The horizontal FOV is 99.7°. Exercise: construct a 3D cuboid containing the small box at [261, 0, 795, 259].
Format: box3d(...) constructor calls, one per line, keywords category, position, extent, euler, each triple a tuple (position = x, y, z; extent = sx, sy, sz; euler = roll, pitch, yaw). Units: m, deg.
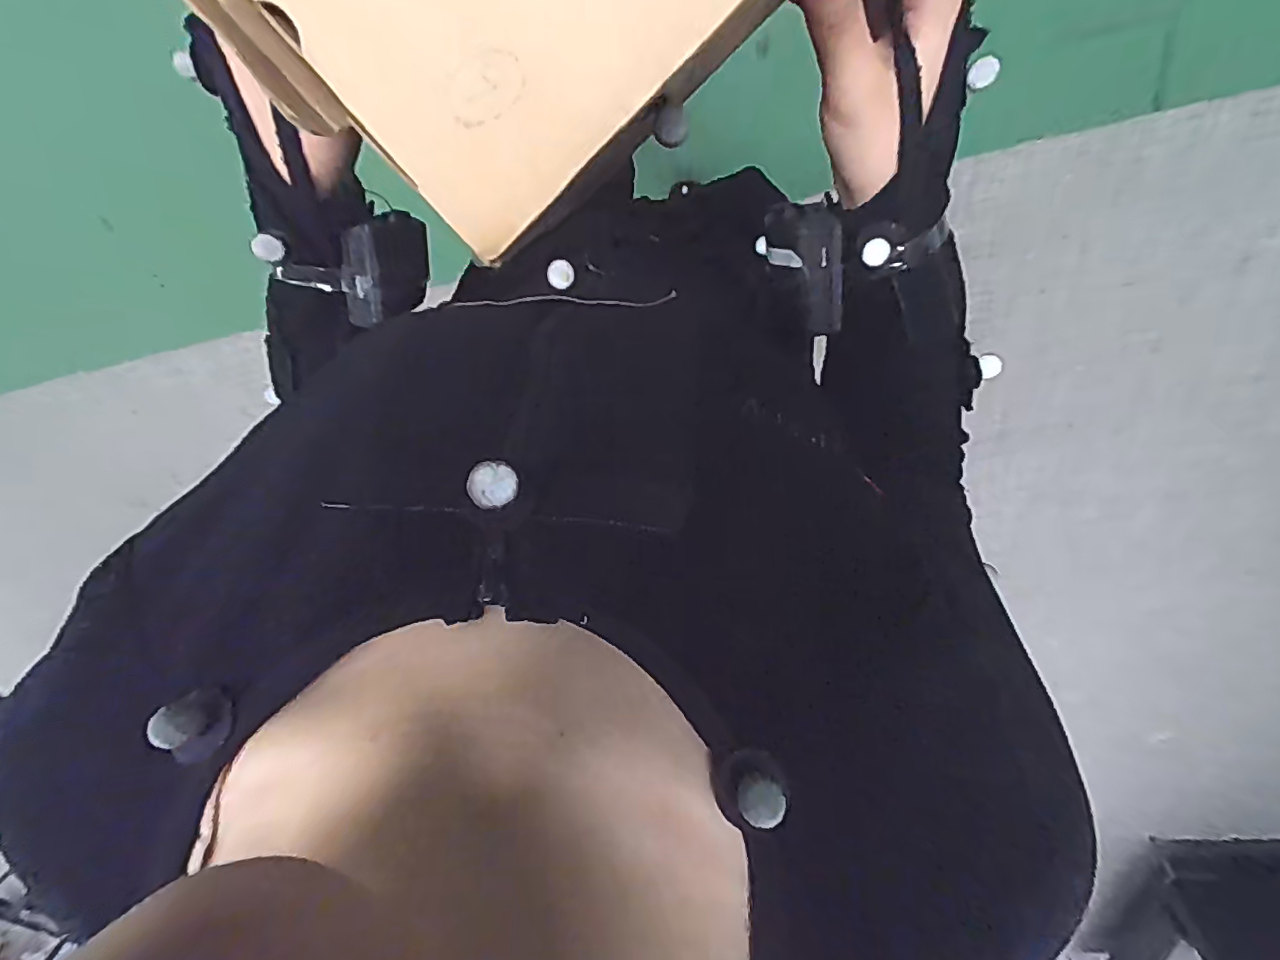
box3d(category="small box", position=(-0.029, -0.219, 0.198), extent=(0.179, 0.176, 0.168), euler=(-33, 115, 26))
